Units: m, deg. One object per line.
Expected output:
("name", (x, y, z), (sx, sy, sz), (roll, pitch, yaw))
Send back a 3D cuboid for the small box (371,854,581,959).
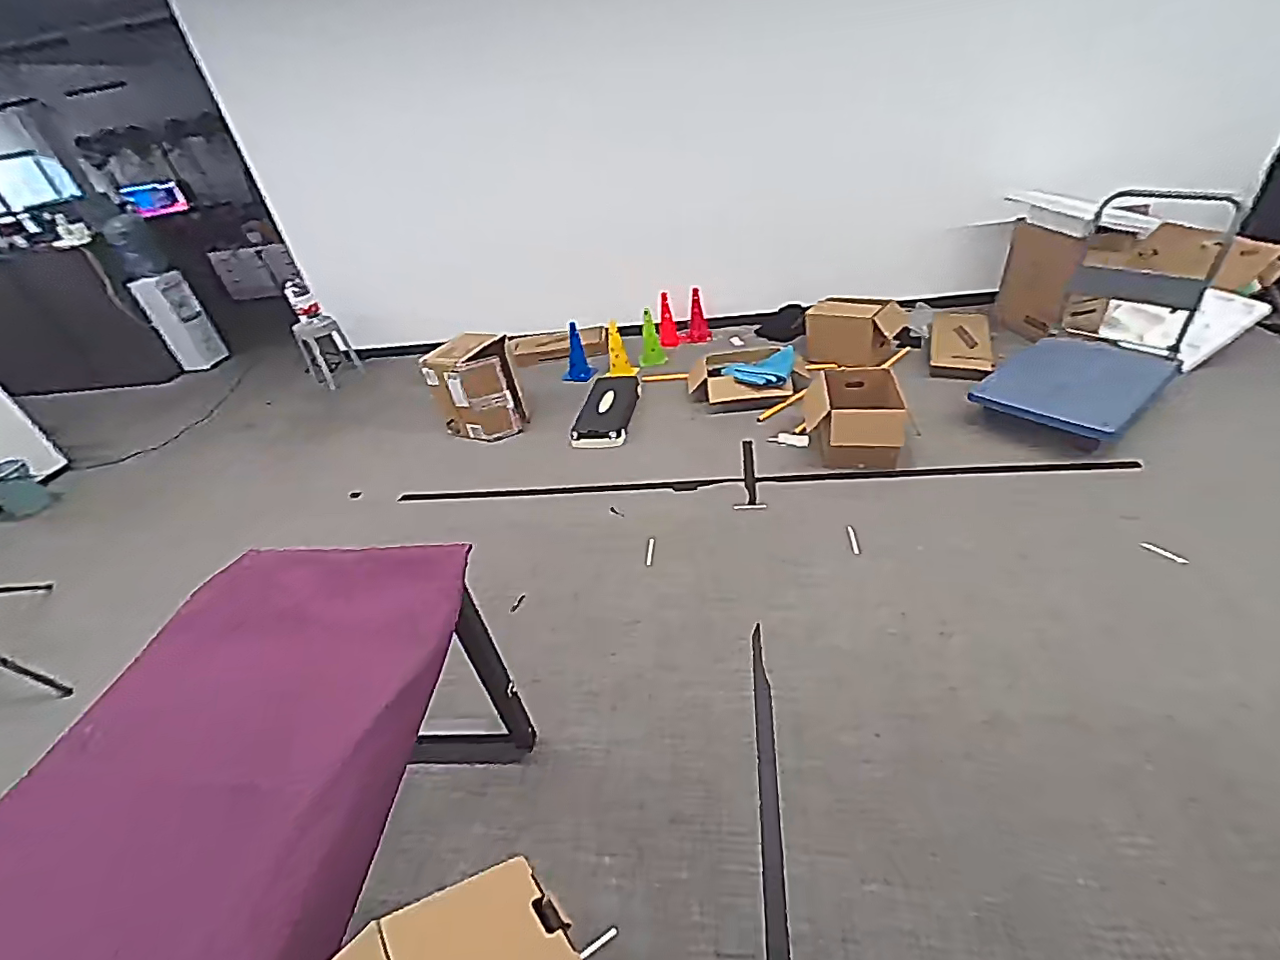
("small box", (-0.182, 0.566, 0.580), (0.179, 0.176, 0.168), (3, 16, -40))
